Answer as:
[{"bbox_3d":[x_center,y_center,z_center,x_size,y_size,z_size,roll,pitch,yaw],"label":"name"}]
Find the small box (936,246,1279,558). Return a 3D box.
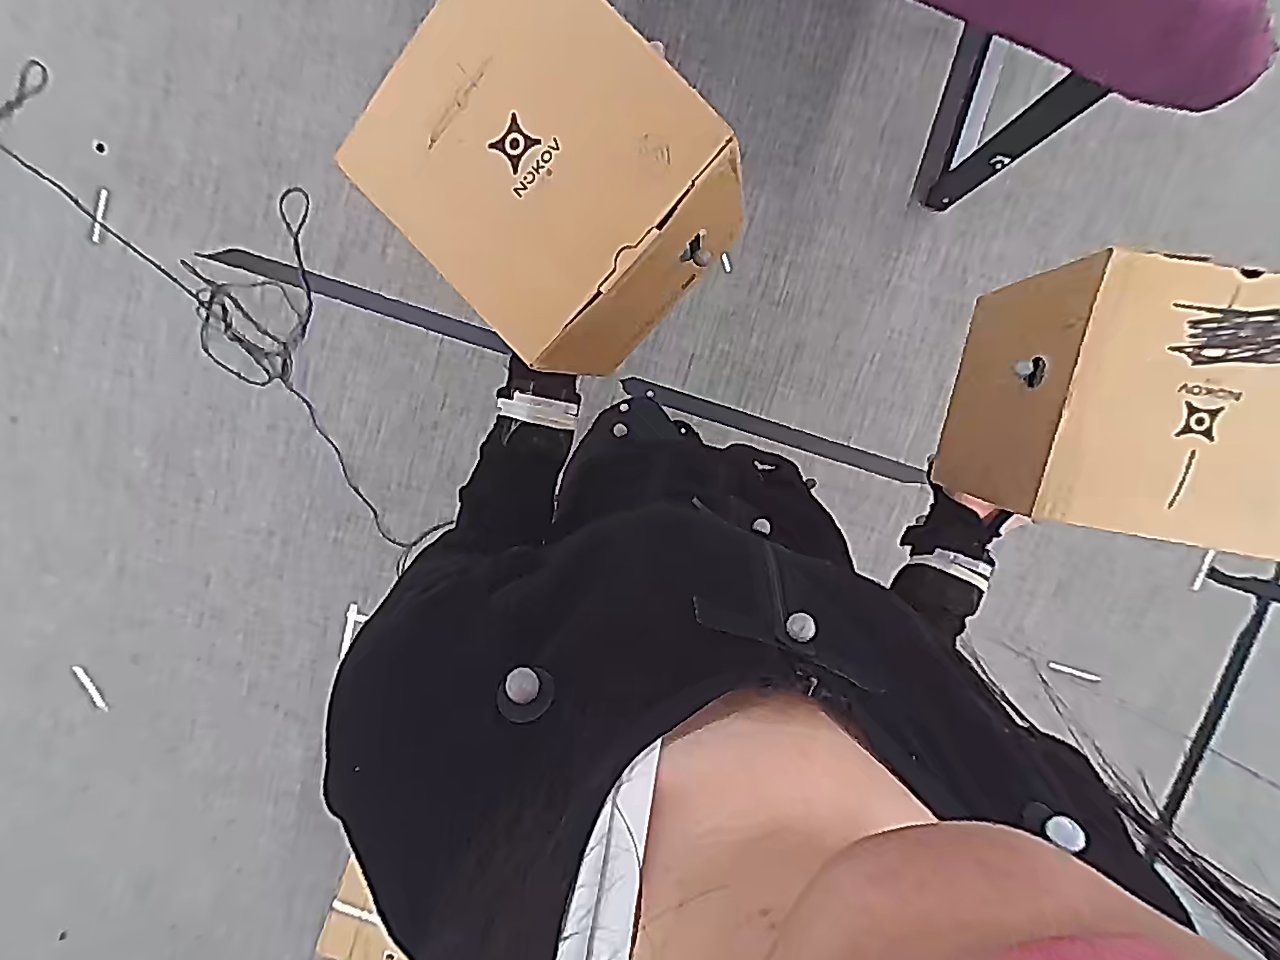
[{"bbox_3d":[0.364,-0.059,0.424,0.168,0.176,0.179,11,100,5],"label":"small box"}]

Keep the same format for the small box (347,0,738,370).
[{"bbox_3d":[-0.045,-0.195,0.378,0.179,0.176,0.168,46,104,2],"label":"small box"}]
